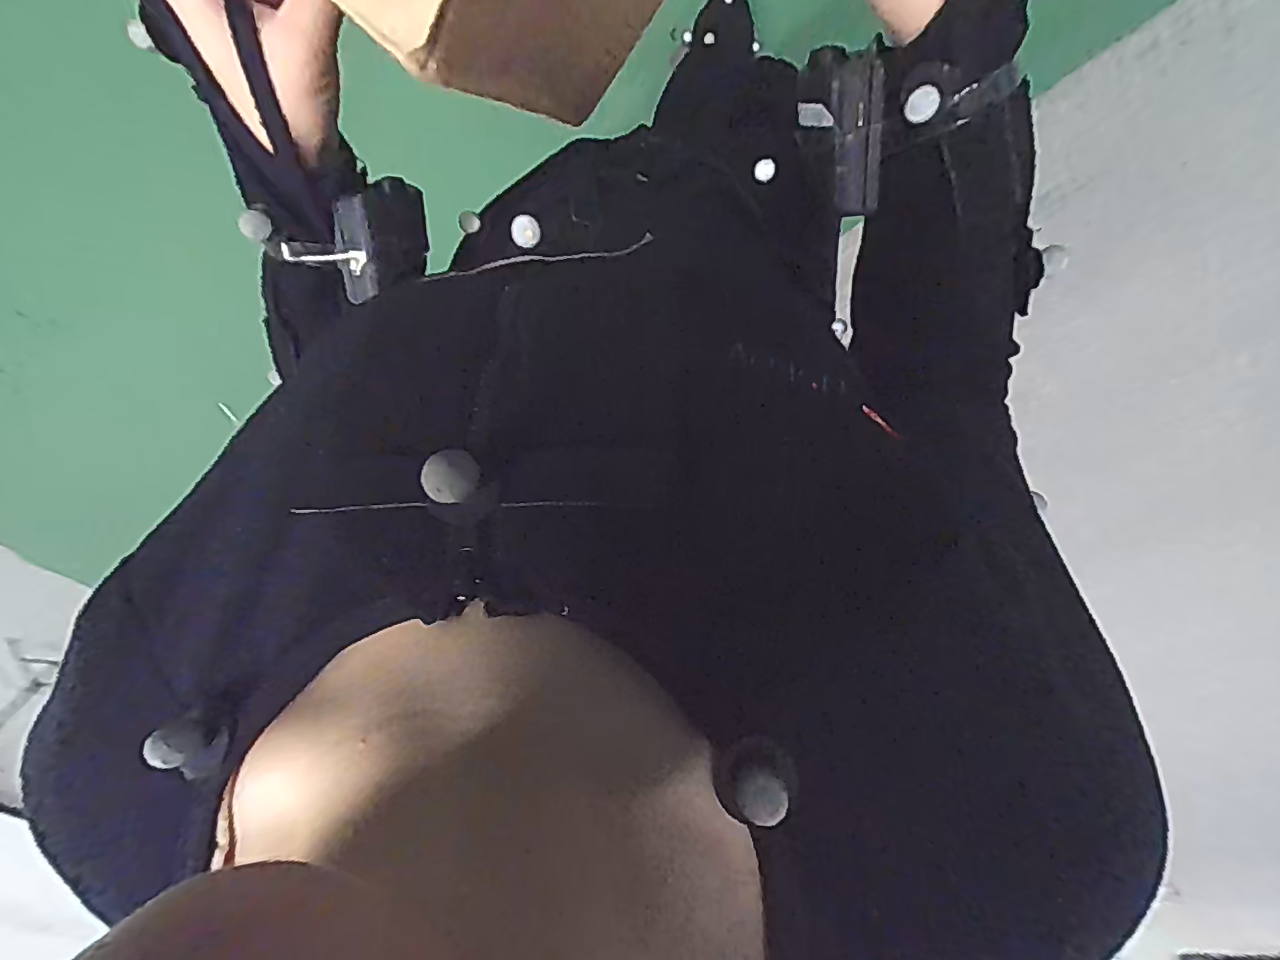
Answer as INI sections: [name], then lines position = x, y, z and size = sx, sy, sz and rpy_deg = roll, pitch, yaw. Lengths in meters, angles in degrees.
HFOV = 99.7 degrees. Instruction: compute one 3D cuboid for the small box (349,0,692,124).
[small box]
position = -0.037, -0.237, 0.150
size = 0.168, 0.176, 0.179
rpy_deg = 39, 117, -13
